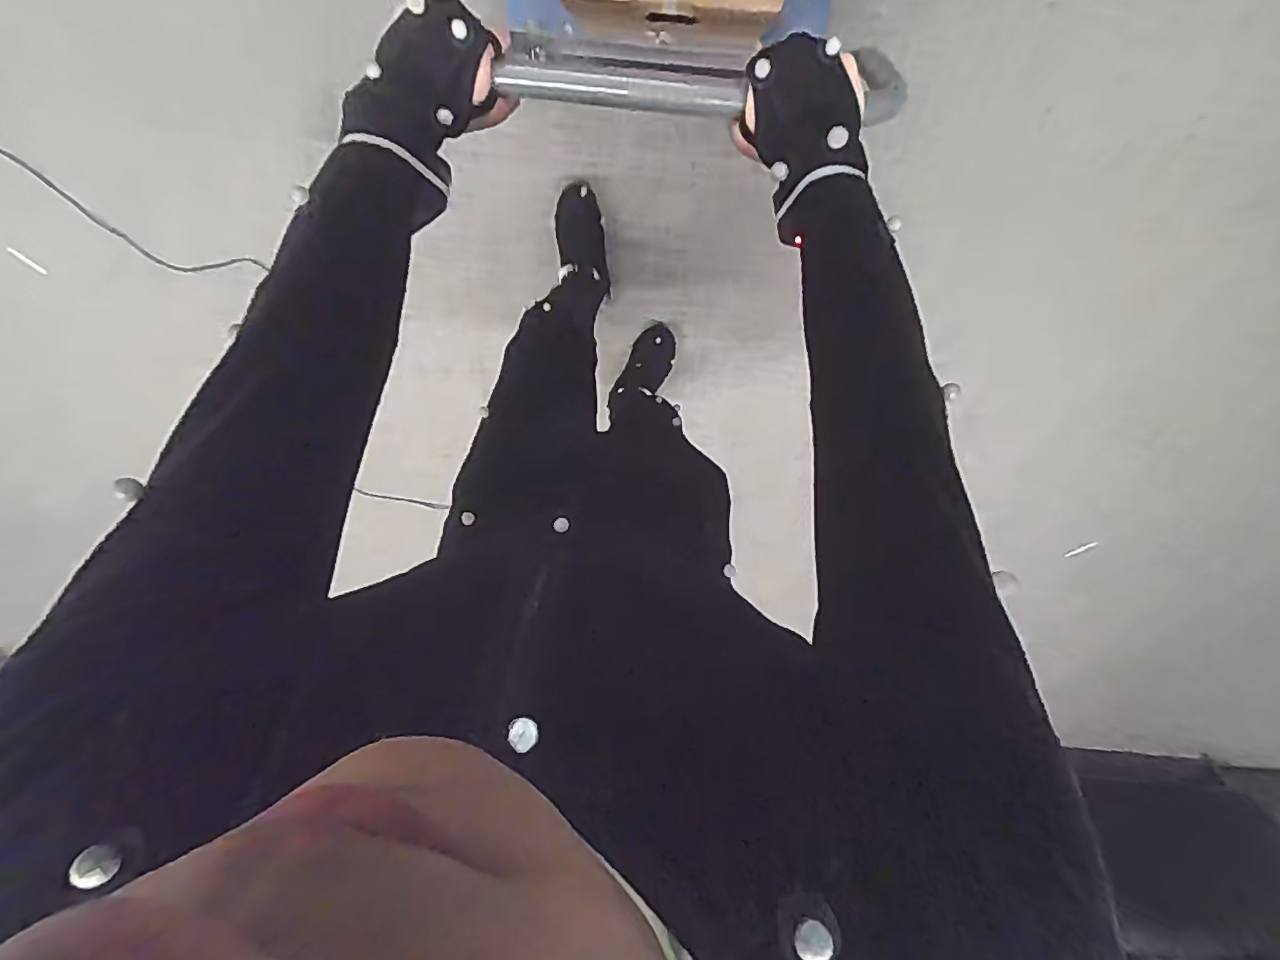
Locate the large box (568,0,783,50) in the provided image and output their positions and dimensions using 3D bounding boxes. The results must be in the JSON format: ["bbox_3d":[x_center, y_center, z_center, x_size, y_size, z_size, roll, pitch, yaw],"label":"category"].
[{"bbox_3d":[0.067,-0.901,0.776,0.320,0.320,0.408,6,121,0],"label":"large box"}]
